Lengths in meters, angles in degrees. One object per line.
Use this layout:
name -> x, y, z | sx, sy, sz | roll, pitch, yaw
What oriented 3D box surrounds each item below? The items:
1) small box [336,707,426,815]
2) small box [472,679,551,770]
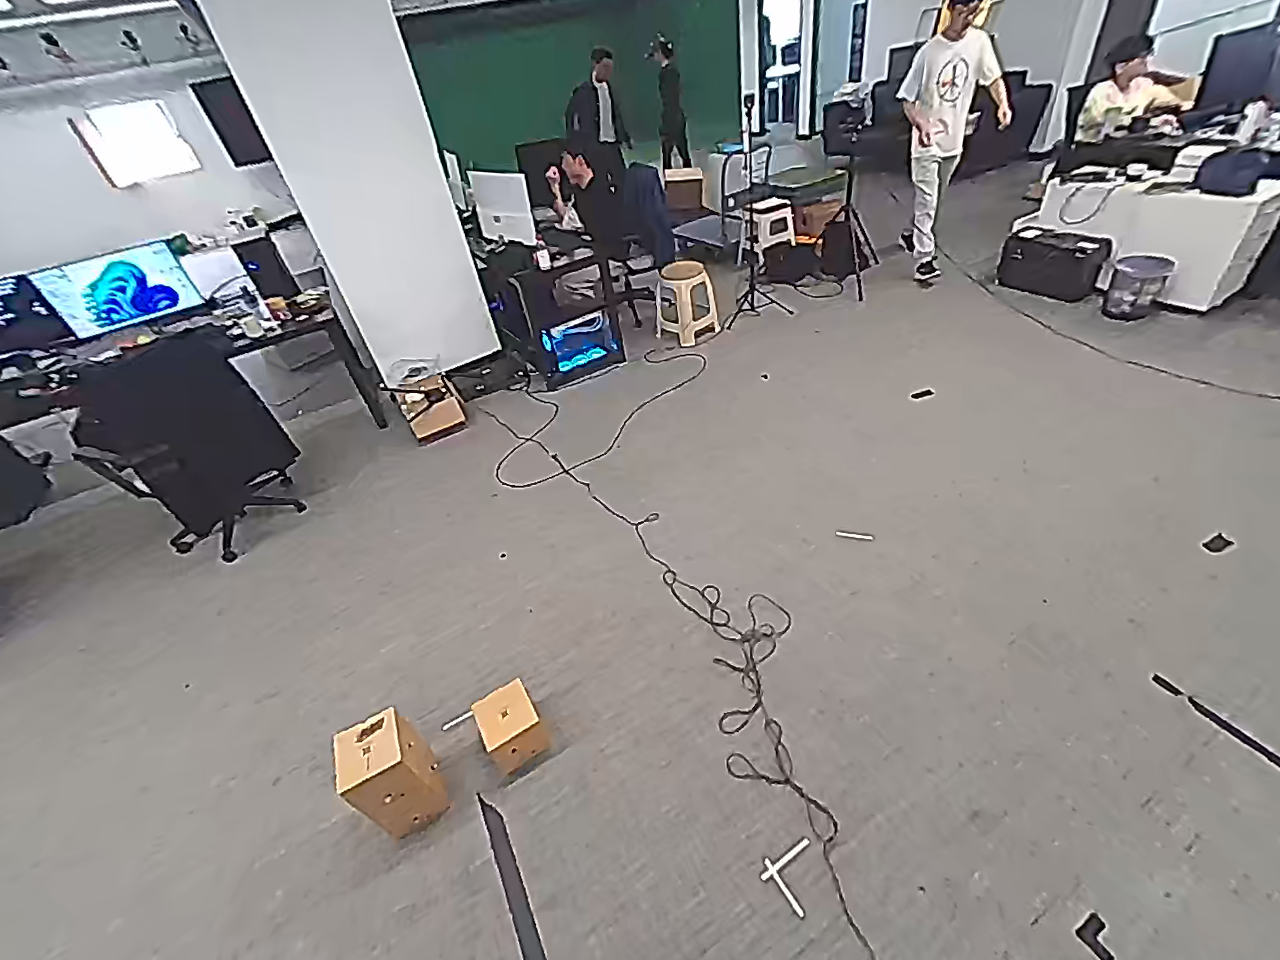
small box -> -0.710, 0.774, 1.487 | 0.168, 0.176, 0.179 | -25, 42, -16
small box -> -0.397, 0.768, 1.685 | 0.168, 0.176, 0.179 | -27, 41, -19
